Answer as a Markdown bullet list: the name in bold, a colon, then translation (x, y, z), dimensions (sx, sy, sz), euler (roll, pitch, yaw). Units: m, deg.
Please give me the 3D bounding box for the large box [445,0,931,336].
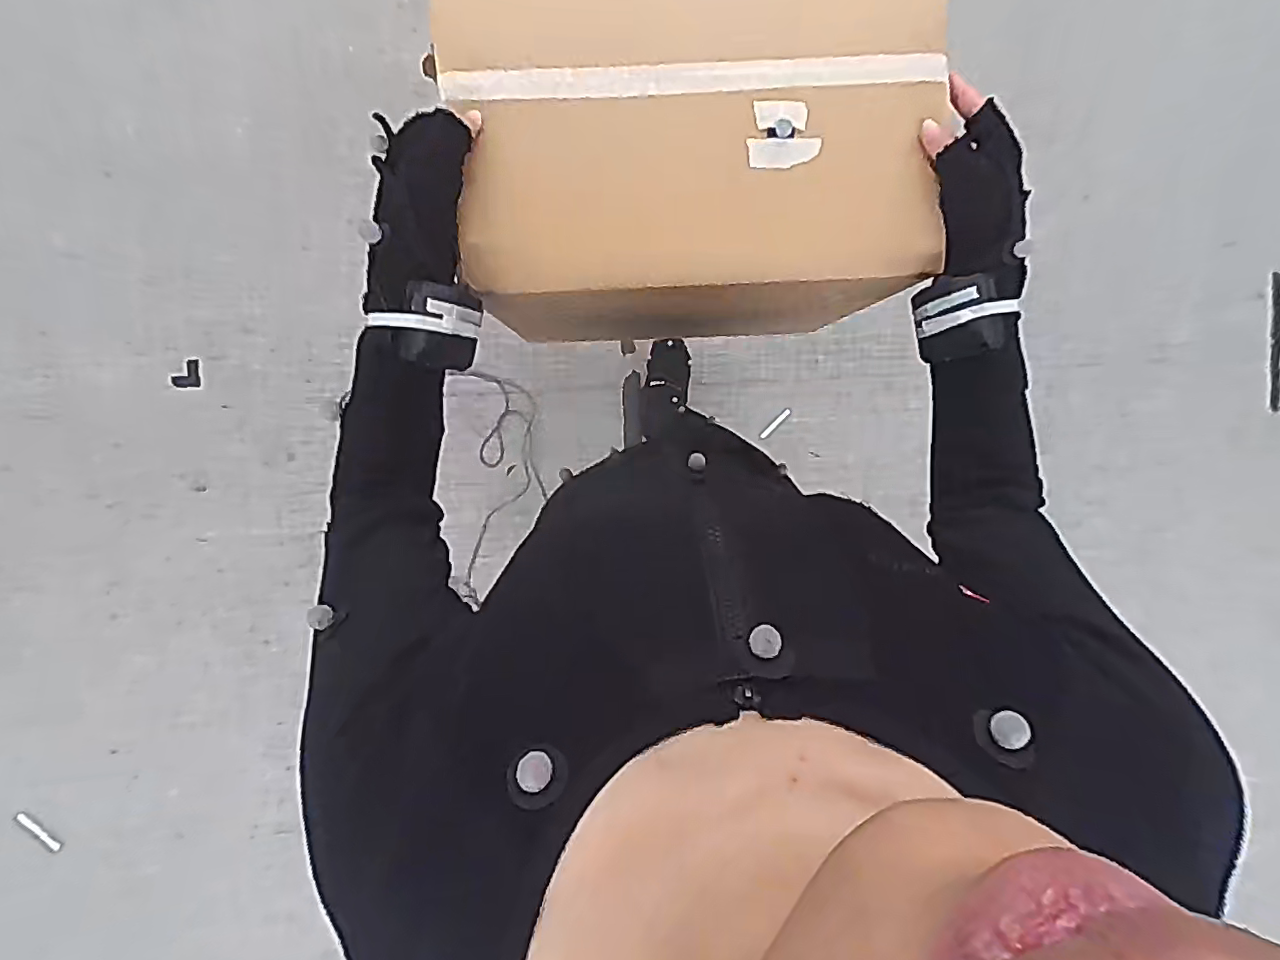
- **large box**: translation (0.038, -0.348, 0.596), dimensions (0.408, 0.320, 0.320), euler (-3, 97, -2)
